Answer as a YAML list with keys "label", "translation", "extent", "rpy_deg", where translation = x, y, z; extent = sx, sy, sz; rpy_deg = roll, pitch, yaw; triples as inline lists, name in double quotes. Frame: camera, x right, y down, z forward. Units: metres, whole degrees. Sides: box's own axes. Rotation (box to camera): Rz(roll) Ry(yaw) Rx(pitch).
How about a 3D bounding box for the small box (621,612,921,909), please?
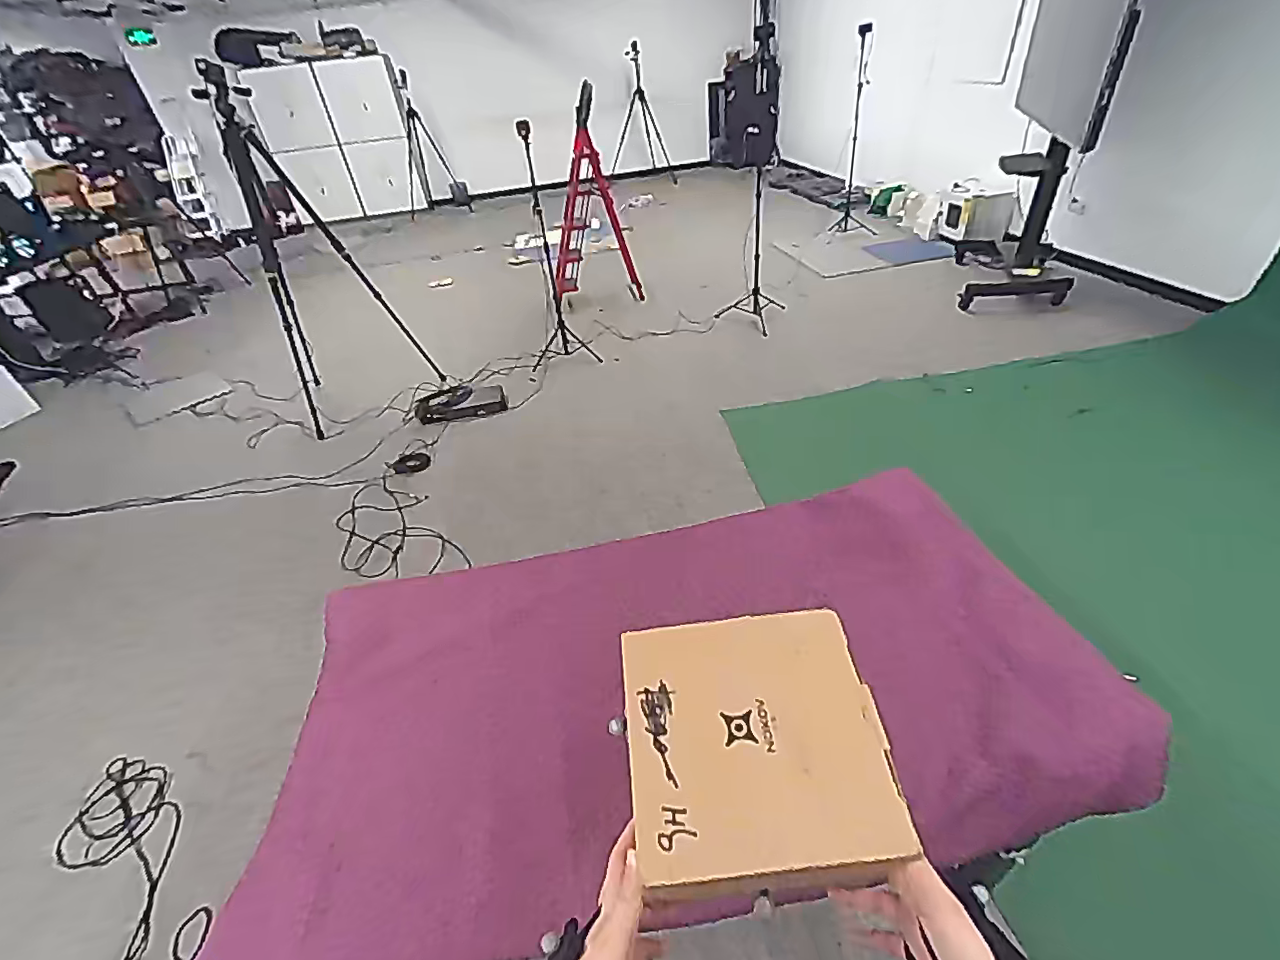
- label: "small box"
  translation: [0.079, 0.223, 0.427]
  extent: [0.179, 0.176, 0.168]
  rpy_deg: [-5, 47, -1]
